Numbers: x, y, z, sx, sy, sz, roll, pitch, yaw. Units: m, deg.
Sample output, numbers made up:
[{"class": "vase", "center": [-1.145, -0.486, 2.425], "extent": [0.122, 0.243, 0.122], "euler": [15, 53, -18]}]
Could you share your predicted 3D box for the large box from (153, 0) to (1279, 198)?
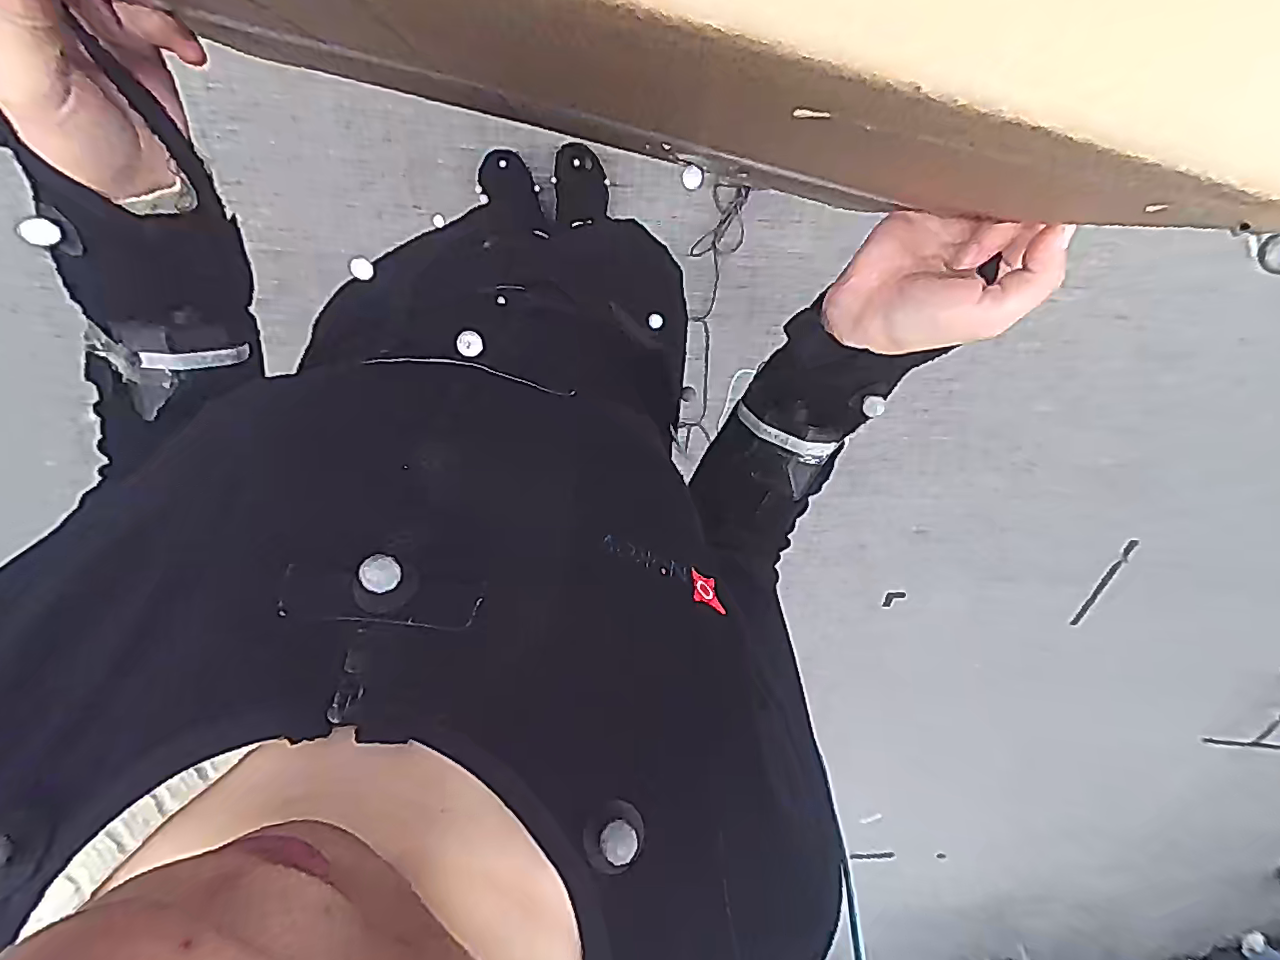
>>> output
[{"class": "large box", "center": [0.001, -0.304, 0.162], "extent": [0.408, 0.320, 0.320], "euler": [8, 118, -10]}]
